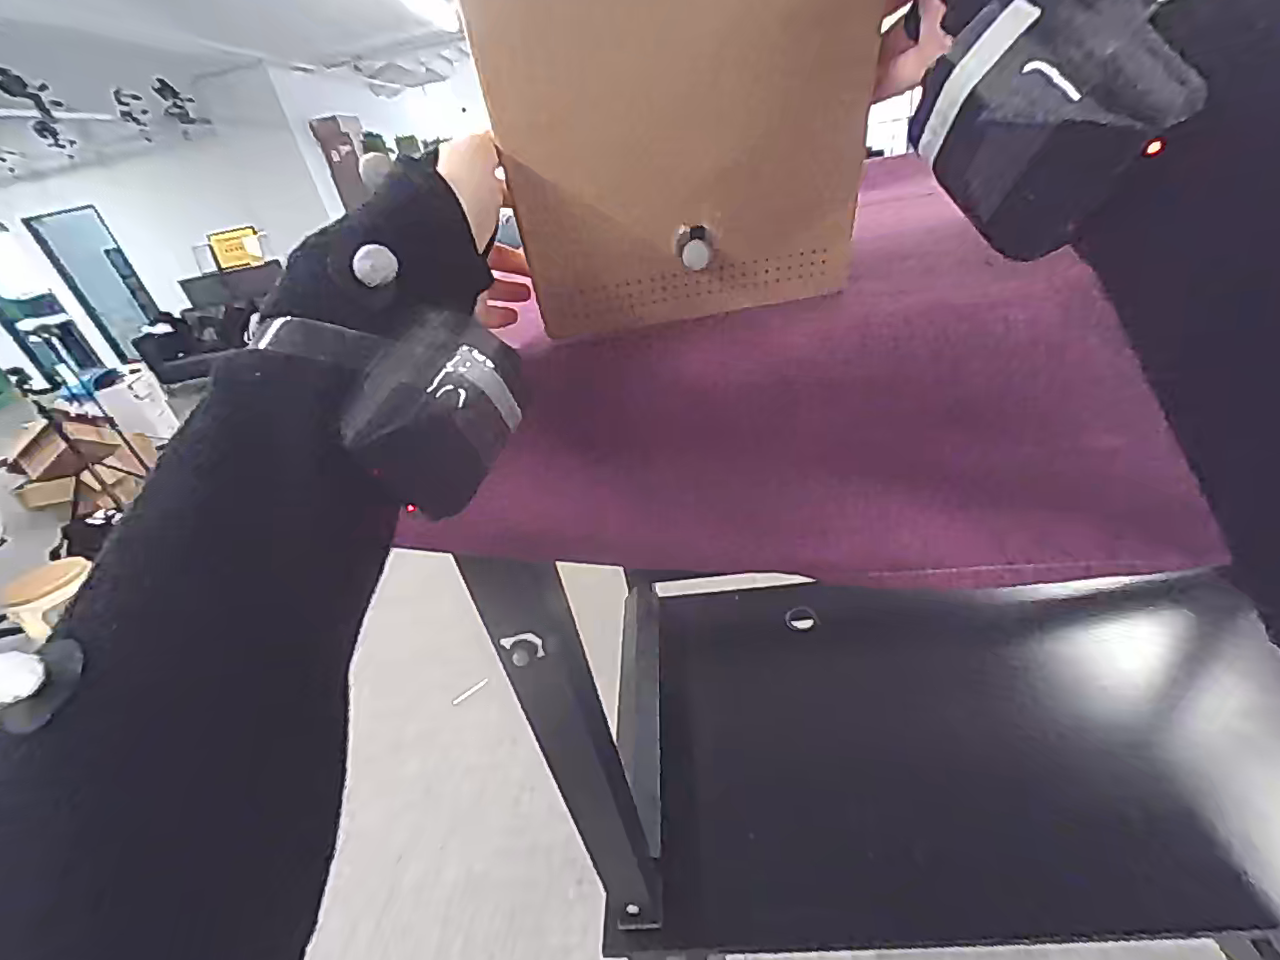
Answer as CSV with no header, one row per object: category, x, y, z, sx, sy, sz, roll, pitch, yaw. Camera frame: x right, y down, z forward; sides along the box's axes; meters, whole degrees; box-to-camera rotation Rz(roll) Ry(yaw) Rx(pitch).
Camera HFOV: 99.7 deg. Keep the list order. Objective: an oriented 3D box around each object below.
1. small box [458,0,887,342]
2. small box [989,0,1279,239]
small box,0.014,-0.200,0.309,0.179,0.176,0.168,-11,41,-1
small box,0.326,-0.245,0.305,0.179,0.176,0.168,-6,32,9
